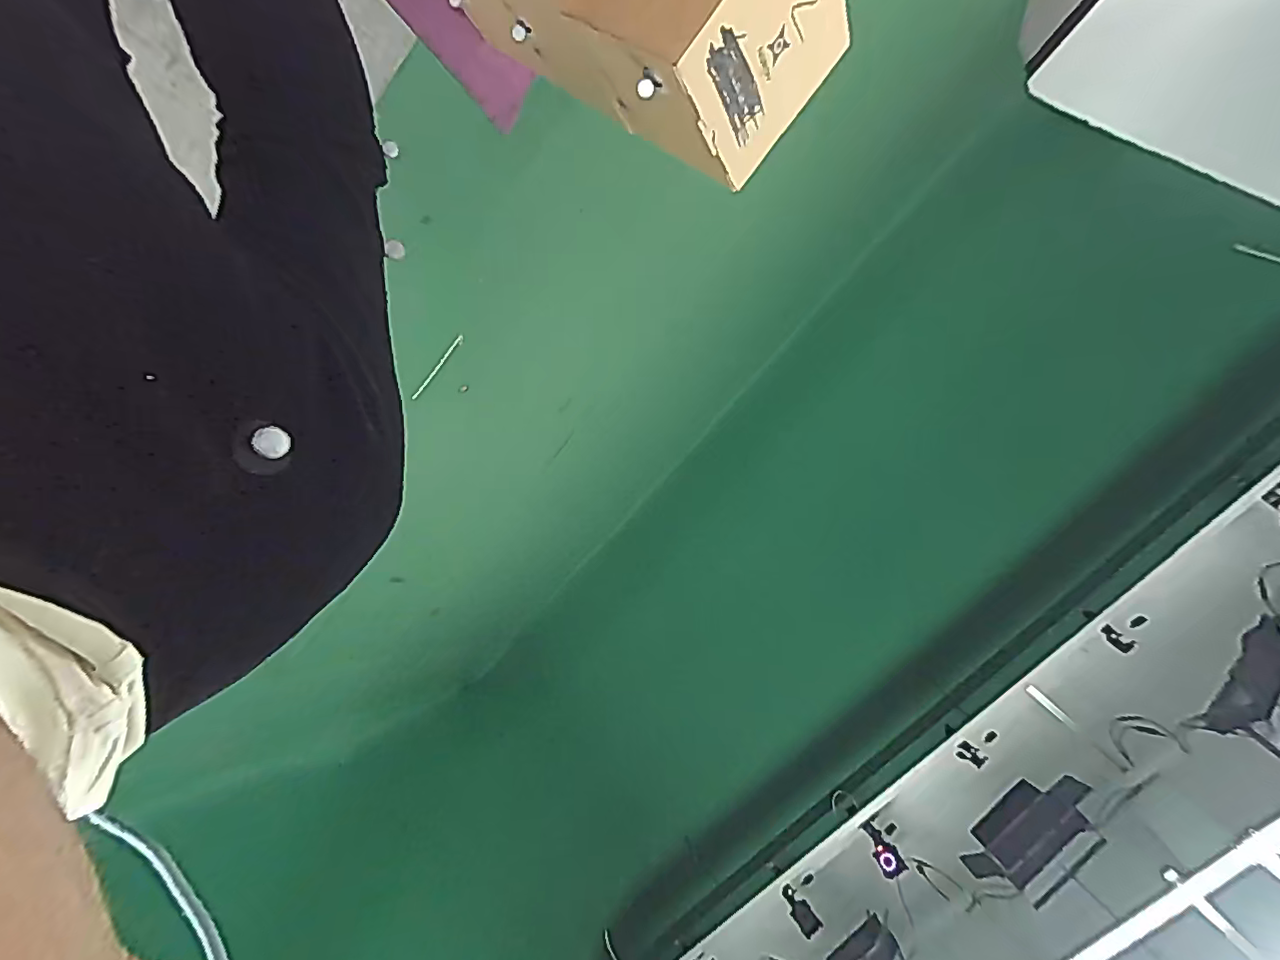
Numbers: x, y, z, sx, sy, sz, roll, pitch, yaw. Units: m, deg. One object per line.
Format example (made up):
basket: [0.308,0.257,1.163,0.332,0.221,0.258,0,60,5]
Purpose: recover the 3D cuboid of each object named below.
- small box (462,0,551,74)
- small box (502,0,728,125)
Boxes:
small box: [-0.146,-0.651,0.643,0.168,0.176,0.179,-48,157,9]
small box: [-0.039,-0.545,0.581,0.179,0.176,0.168,-47,156,9]
